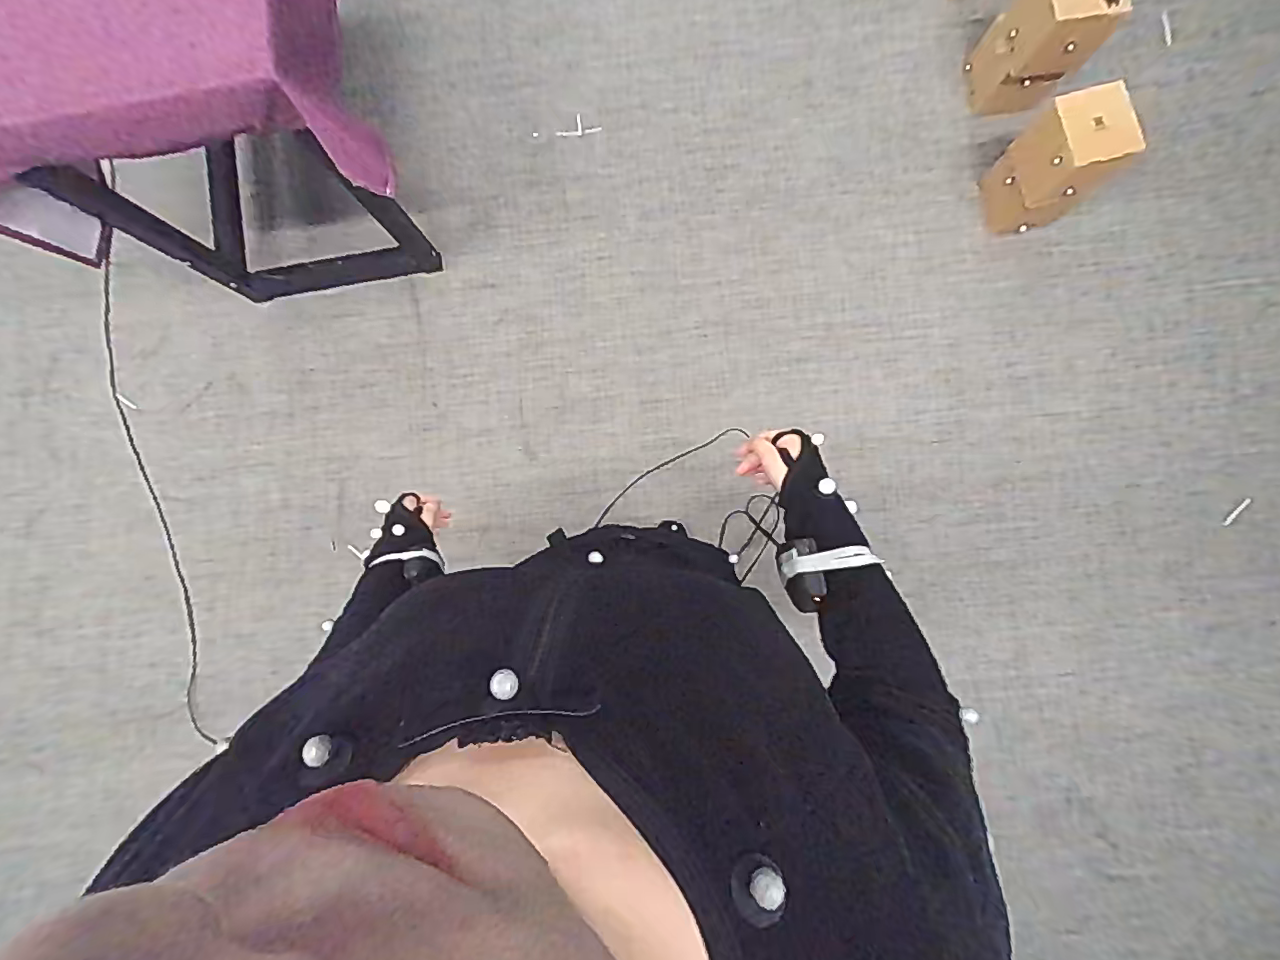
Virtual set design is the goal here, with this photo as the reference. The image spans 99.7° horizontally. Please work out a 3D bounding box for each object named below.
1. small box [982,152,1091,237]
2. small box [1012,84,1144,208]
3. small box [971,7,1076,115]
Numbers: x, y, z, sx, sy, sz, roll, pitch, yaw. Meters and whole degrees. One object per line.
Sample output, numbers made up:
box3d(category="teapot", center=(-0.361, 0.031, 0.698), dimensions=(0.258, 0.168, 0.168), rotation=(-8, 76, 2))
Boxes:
box3d(category="small box", center=(1.070, -0.797, 1.474), dimensions=(0.168, 0.176, 0.179), rotation=(-8, 87, 2))
box3d(category="small box", center=(1.049, -0.802, 1.313), dimensions=(0.168, 0.176, 0.179), rotation=(-13, 87, 2))
box3d(category="small box", center=(1.048, -1.149, 1.497), dimensions=(0.179, 0.176, 0.168), rotation=(-6, 86, 1))
